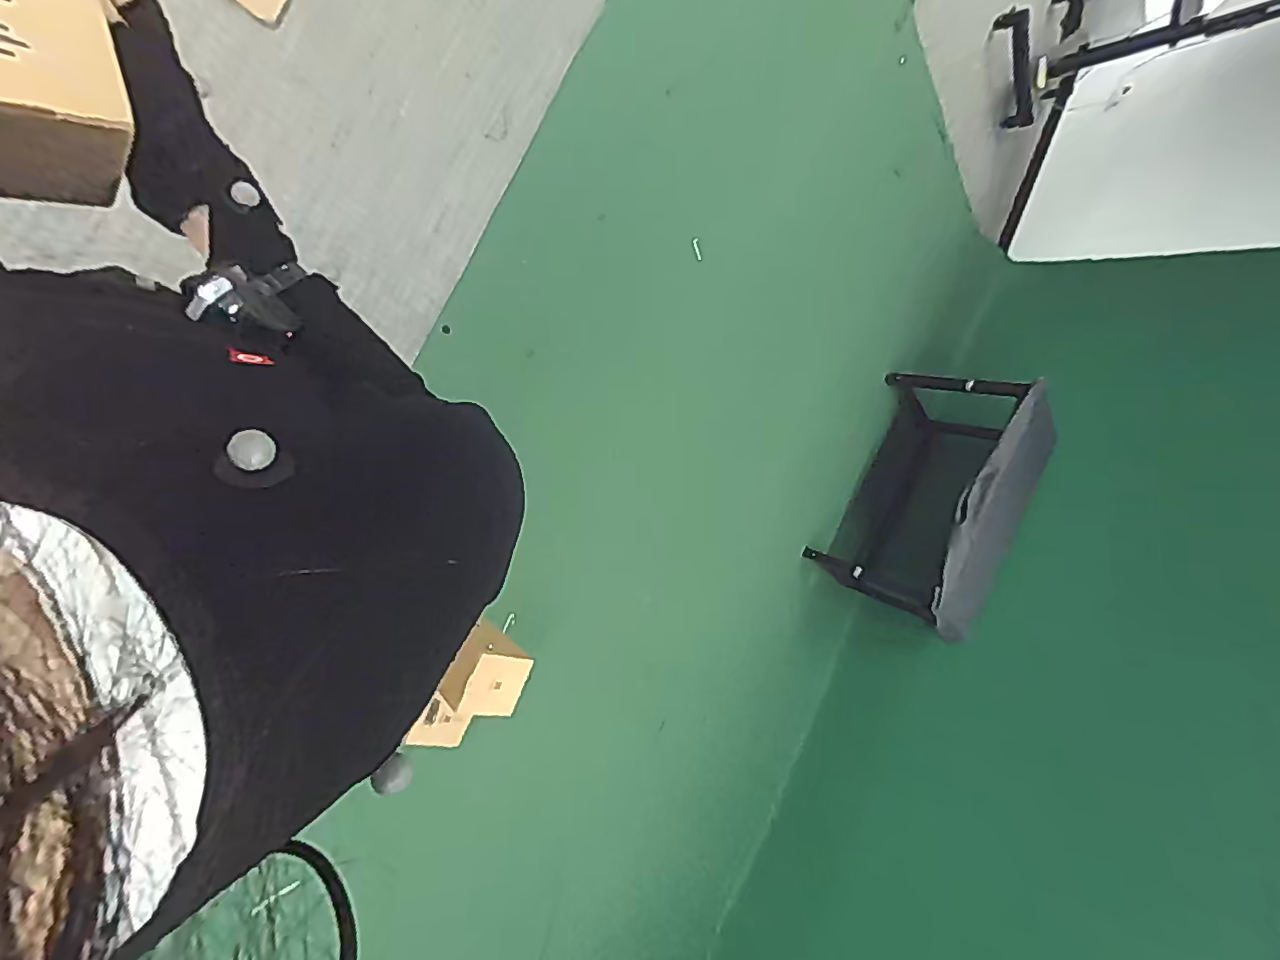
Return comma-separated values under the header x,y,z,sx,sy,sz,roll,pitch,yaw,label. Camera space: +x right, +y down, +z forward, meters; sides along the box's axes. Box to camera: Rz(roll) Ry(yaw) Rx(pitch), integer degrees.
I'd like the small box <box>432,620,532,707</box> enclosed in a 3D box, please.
x,y,z,sx,sy,sz,roll,pitch,yaw,label
-0.439,0.505,1.496,0.179,0.176,0.168,26,86,-43,small box
